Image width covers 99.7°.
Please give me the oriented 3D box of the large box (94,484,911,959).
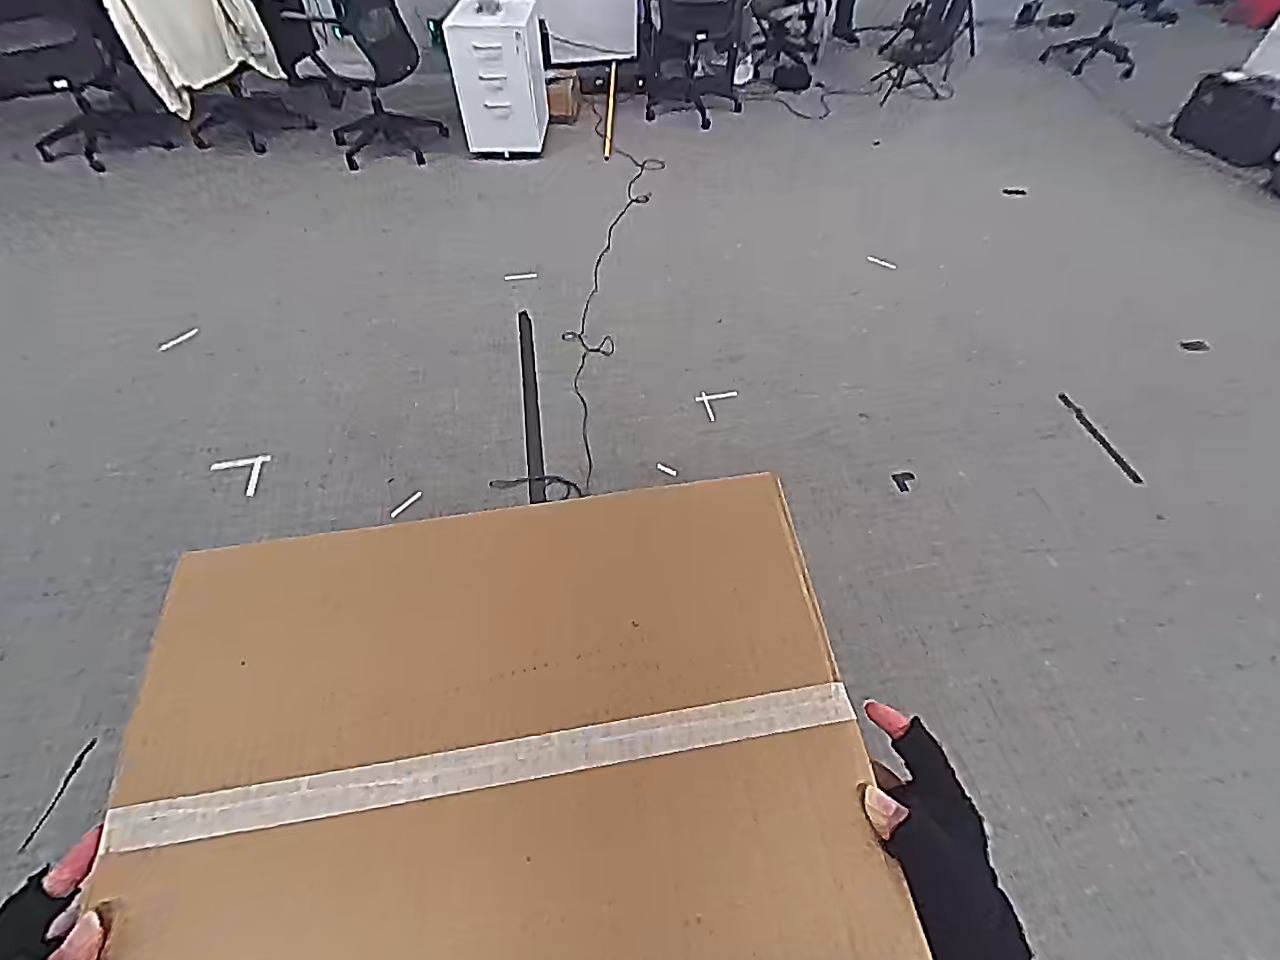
[{"bbox_3d":[-0.079,0.233,0.441,0.408,0.320,0.320,-8,60,-4],"label":"large box"}]
